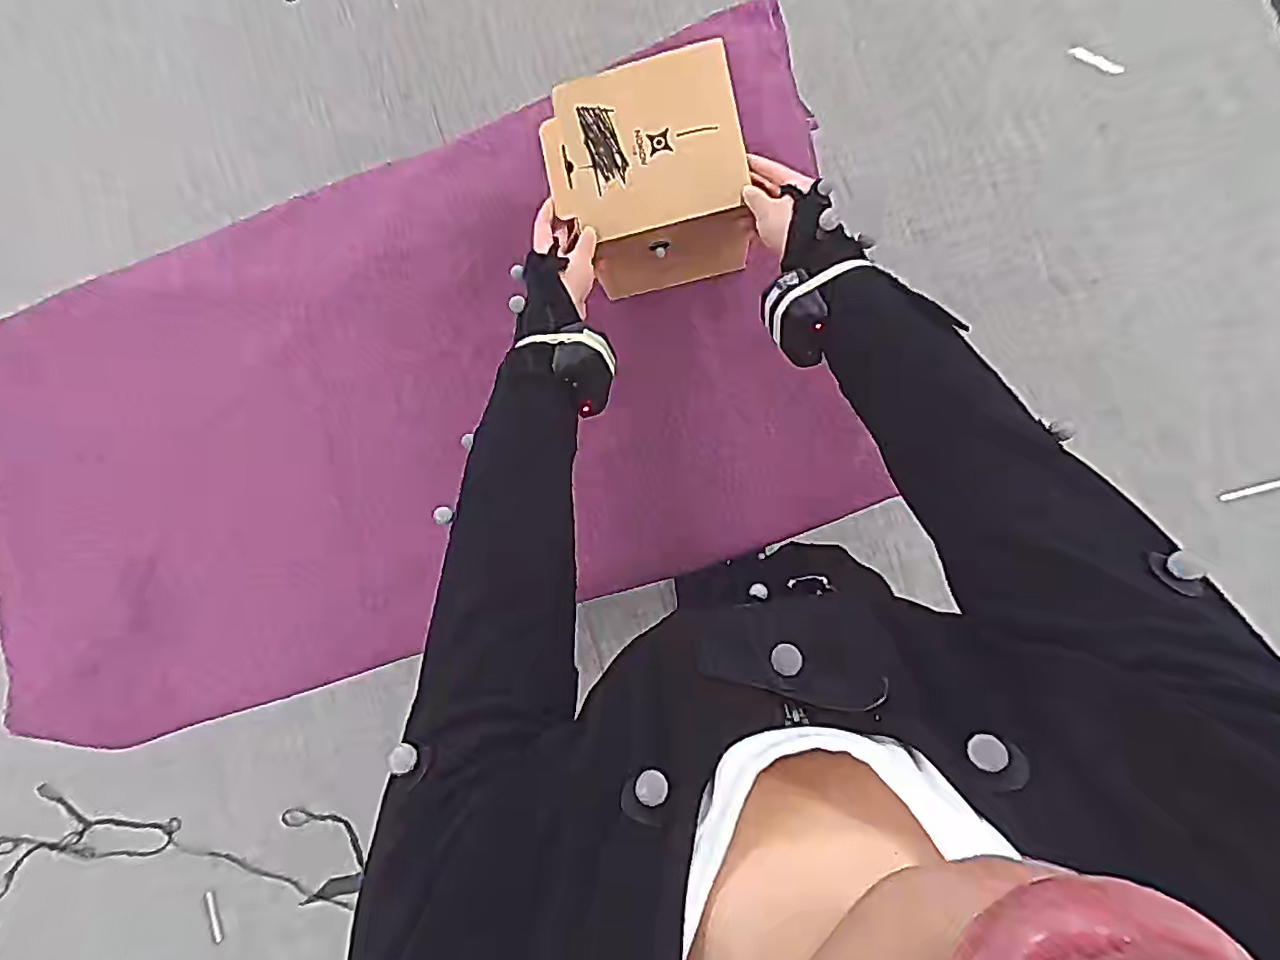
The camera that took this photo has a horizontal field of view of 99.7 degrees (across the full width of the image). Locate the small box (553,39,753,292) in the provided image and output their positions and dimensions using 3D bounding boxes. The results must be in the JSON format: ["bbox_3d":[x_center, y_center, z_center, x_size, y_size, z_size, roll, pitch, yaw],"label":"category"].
[{"bbox_3d":[0.020,-0.330,0.608,0.179,0.176,0.168,-11,89,6],"label":"small box"}]
